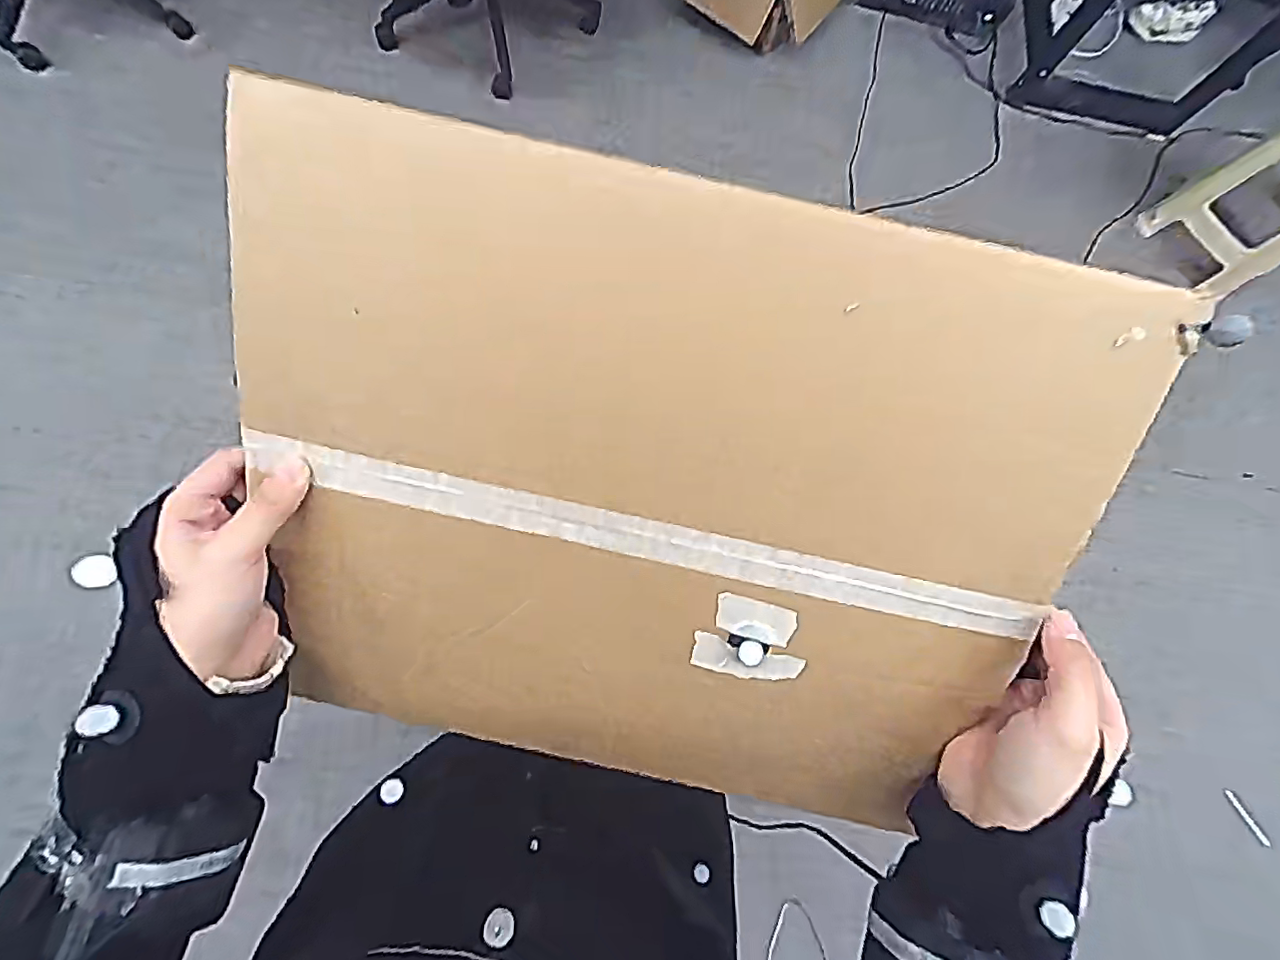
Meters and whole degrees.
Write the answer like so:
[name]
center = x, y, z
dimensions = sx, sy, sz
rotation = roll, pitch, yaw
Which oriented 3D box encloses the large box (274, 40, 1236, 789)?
[large box]
center = 0.026, -0.046, 0.405
dimensions = 0.408, 0.320, 0.320
rotation = 12, 110, 0
